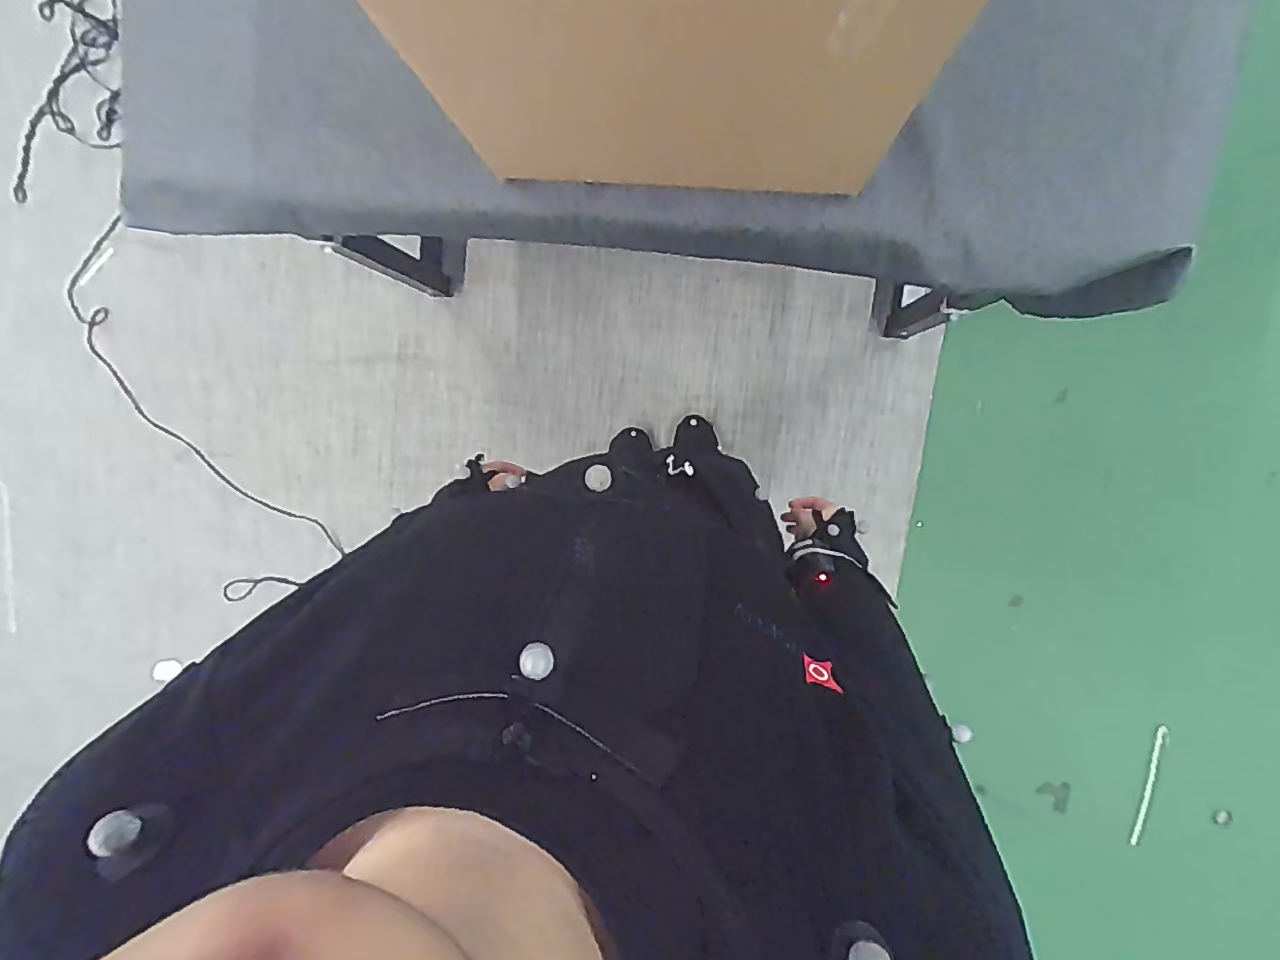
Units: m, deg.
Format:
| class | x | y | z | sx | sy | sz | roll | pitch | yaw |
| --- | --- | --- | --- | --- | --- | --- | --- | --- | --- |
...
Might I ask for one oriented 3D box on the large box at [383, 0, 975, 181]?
| class | x | y | z | sx | sy | sz | roll | pitch | yaw |
| --- | --- | --- | --- | --- | --- | --- | --- | --- | --- |
| large box | 0.034 | -0.471 | 0.438 | 0.408 | 0.320 | 0.320 | 5 | 97 | 4 |
